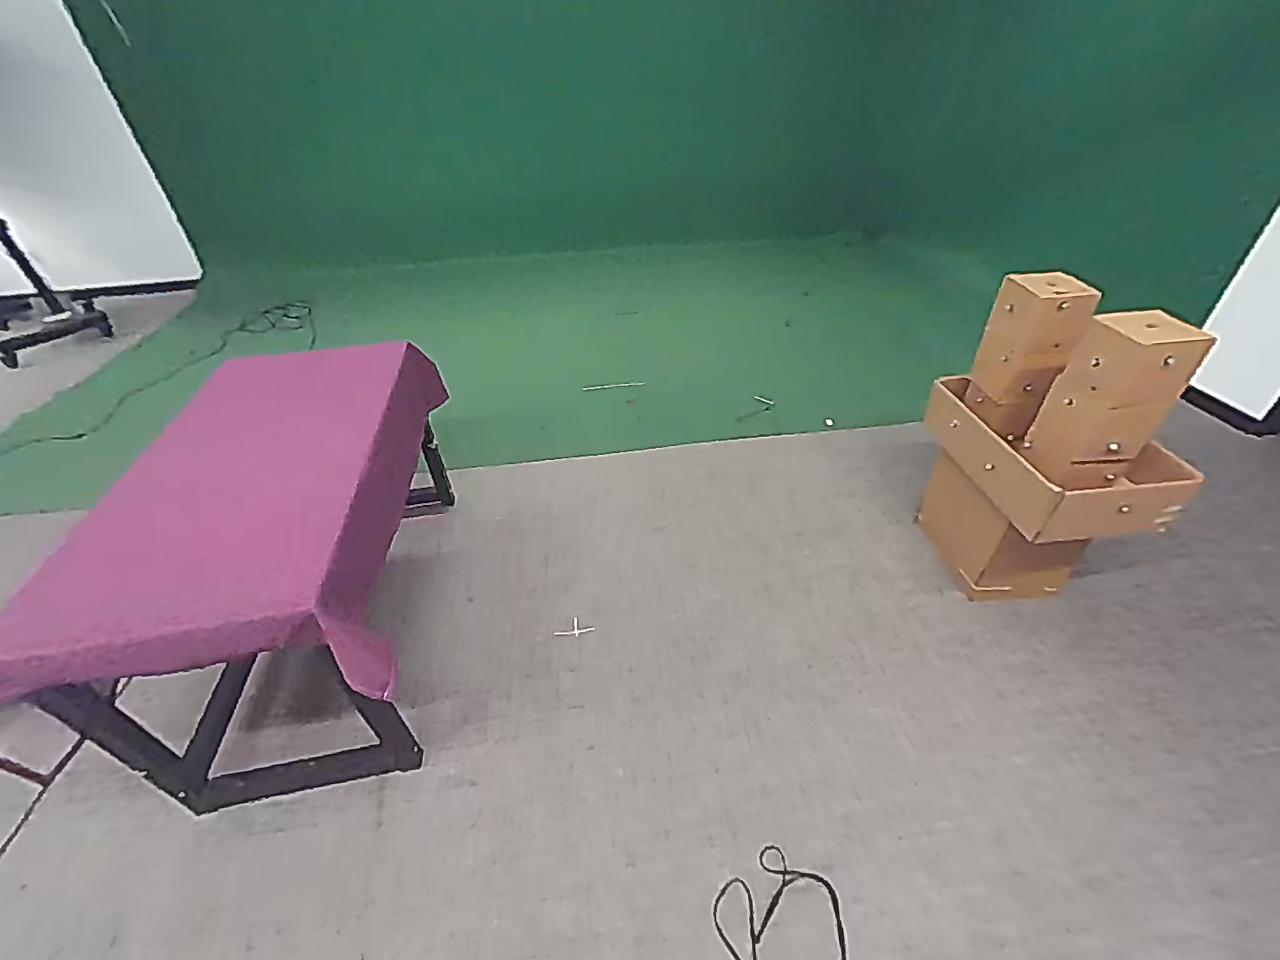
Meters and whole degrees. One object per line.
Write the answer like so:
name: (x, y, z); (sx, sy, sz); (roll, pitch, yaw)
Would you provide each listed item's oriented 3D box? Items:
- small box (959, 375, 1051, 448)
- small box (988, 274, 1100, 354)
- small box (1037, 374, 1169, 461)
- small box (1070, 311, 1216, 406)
small box: (1.177, -0.223, 1.754); (0.168, 0.176, 0.179); (-5, 40, -1)
small box: (1.142, -0.475, 1.547); (0.168, 0.176, 0.179); (-4, 39, 0)
small box: (1.194, -0.166, 1.415); (0.168, 0.176, 0.179); (-3, 40, 0)
small box: (1.192, -0.291, 1.307); (0.179, 0.176, 0.168); (-5, 40, -2)
